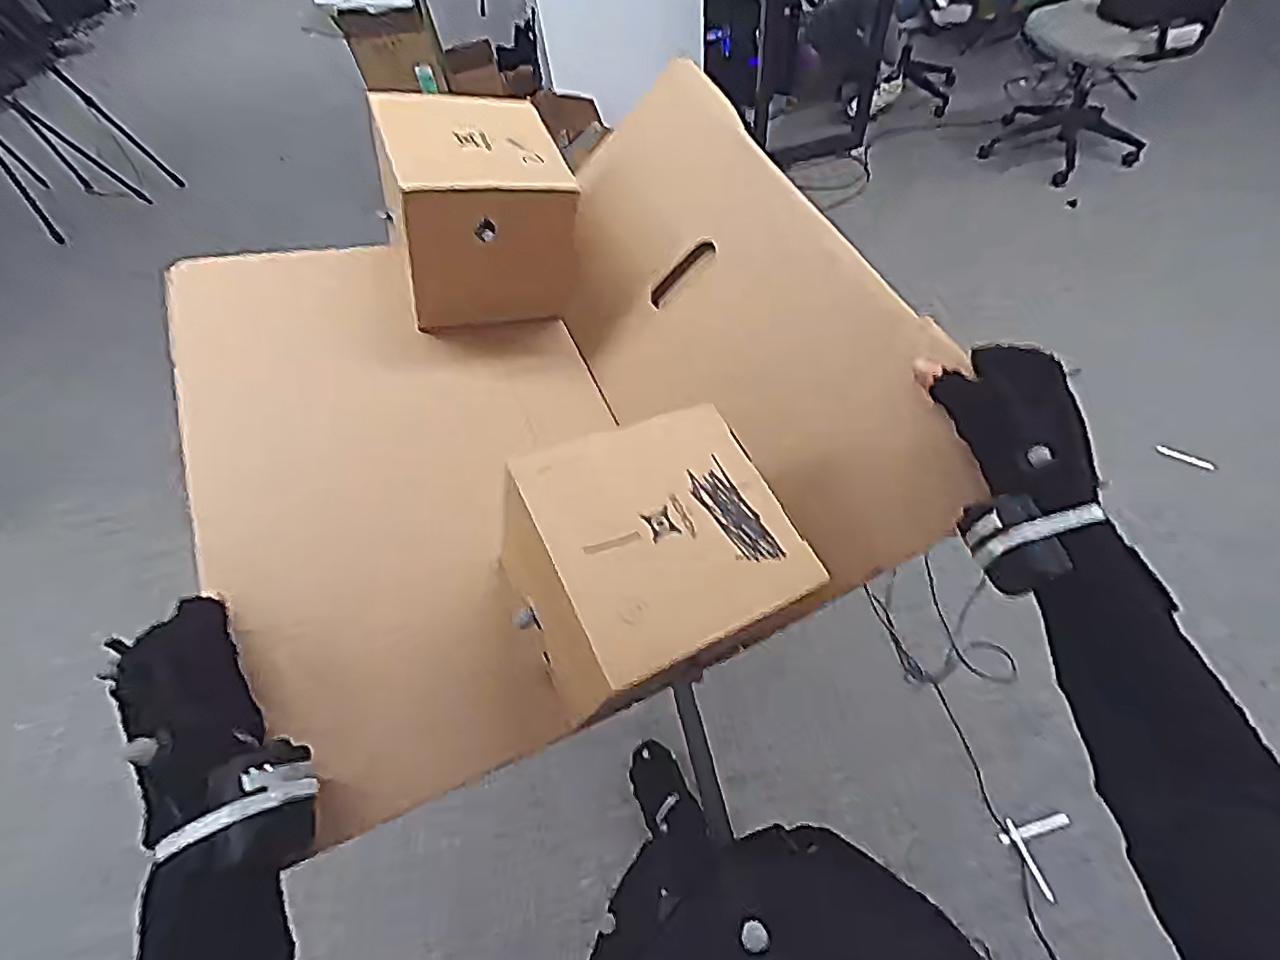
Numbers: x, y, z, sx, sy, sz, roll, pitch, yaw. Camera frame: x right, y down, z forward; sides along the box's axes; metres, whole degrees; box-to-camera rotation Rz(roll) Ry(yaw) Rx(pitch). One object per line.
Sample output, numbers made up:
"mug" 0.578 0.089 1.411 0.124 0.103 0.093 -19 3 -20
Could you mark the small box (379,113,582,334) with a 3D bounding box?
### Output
"small box" -0.182 -0.287 0.622 0.179 0.176 0.168 -12 62 -23
